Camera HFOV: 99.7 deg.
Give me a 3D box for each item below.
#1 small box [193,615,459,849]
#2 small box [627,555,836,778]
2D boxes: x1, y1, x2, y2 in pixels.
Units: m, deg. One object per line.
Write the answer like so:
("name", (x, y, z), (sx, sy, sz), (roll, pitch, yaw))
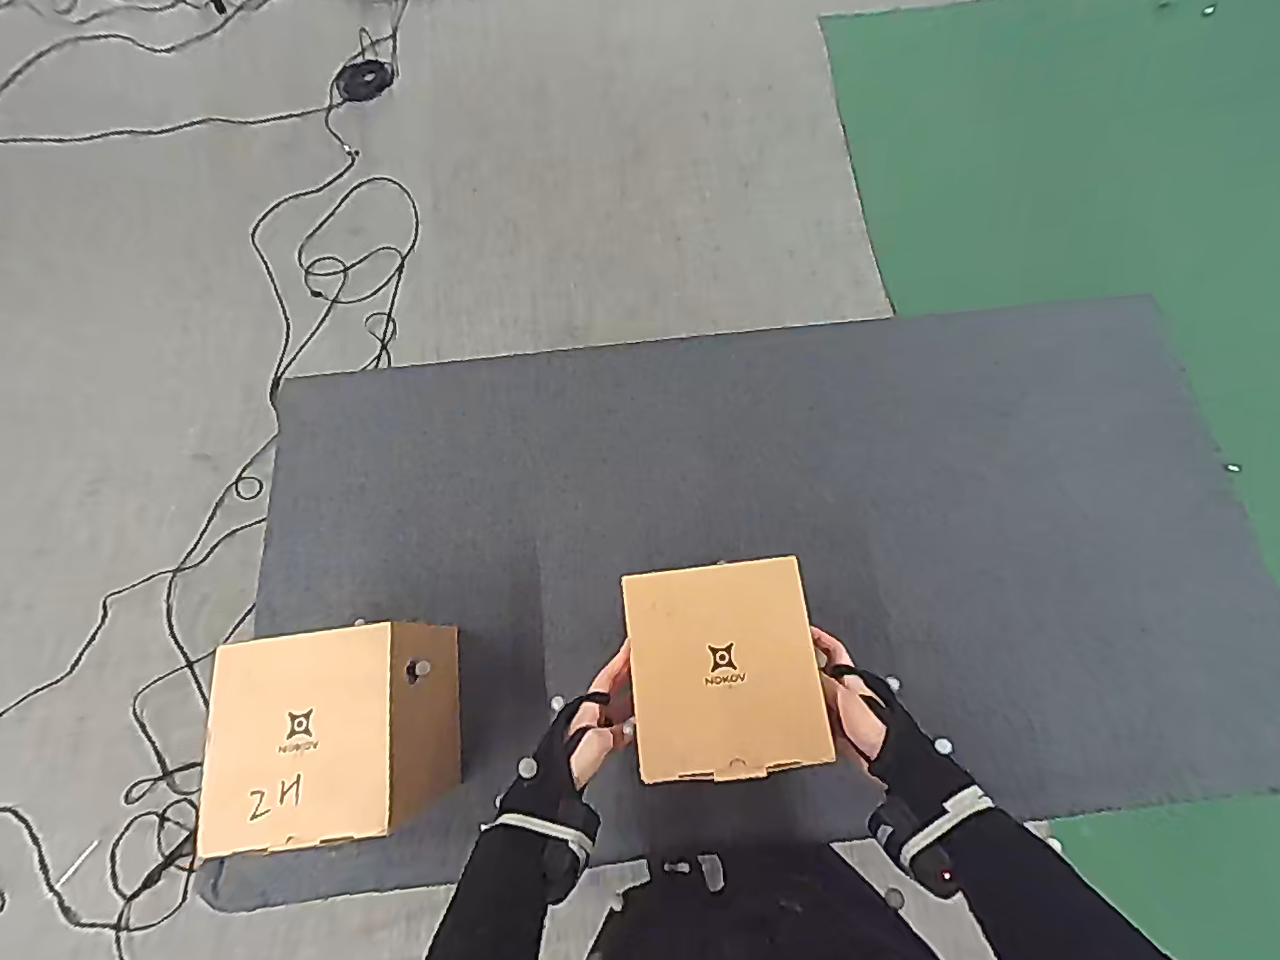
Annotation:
("small box", (-0.294, 0.239, 0.548), (0.168, 0.176, 0.179), (-7, 73, 1))
("small box", (0.077, 0.184, 0.550), (0.168, 0.176, 0.179), (-7, 72, 0))
